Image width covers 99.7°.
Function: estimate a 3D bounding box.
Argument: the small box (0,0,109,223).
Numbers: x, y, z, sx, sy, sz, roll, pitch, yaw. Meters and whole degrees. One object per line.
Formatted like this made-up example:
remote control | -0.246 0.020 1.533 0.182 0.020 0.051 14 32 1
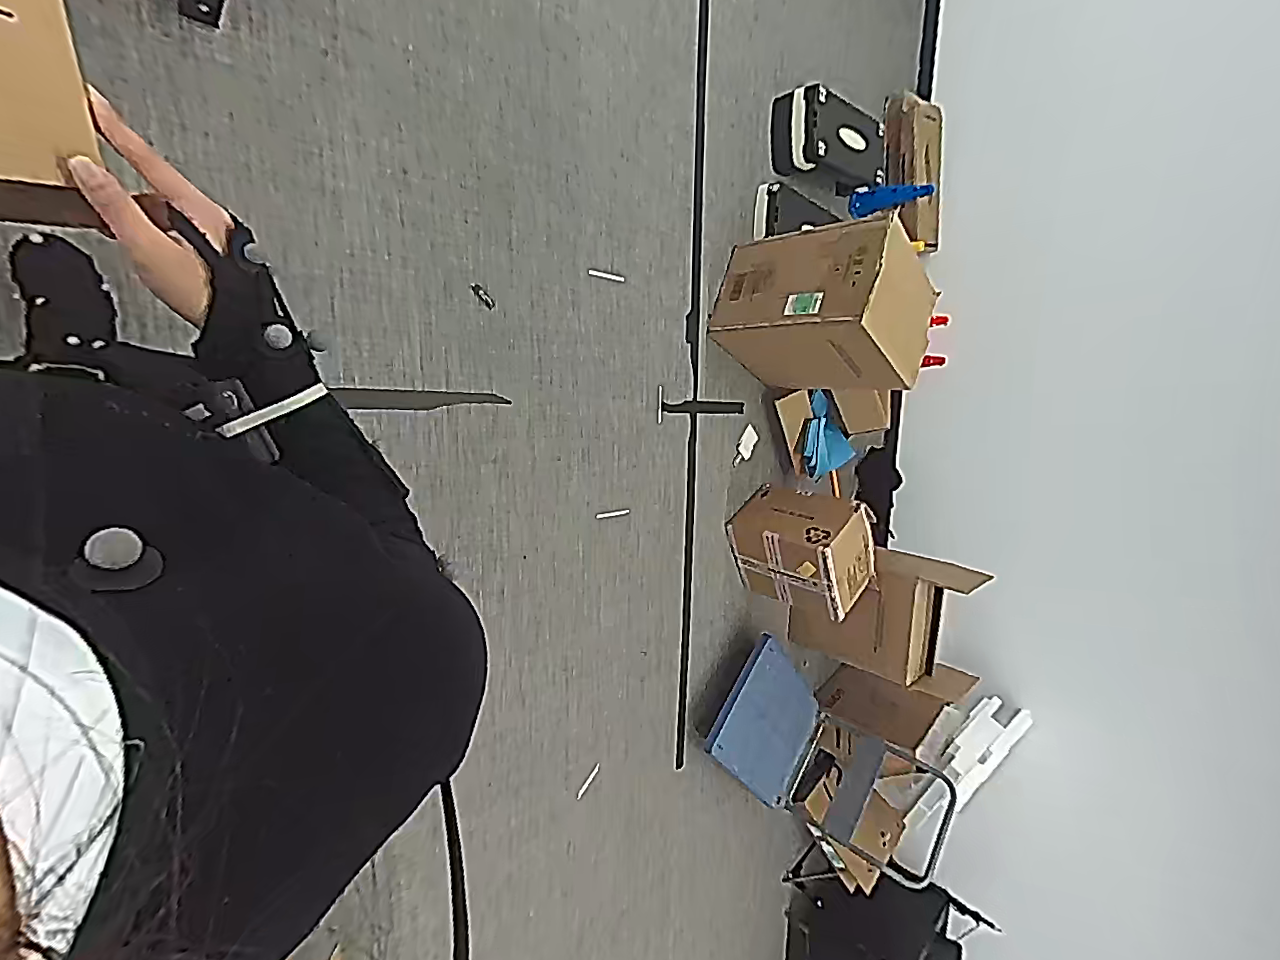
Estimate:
small box | -0.429 -0.246 0.292 0.179 0.176 0.168 -16 113 -44
